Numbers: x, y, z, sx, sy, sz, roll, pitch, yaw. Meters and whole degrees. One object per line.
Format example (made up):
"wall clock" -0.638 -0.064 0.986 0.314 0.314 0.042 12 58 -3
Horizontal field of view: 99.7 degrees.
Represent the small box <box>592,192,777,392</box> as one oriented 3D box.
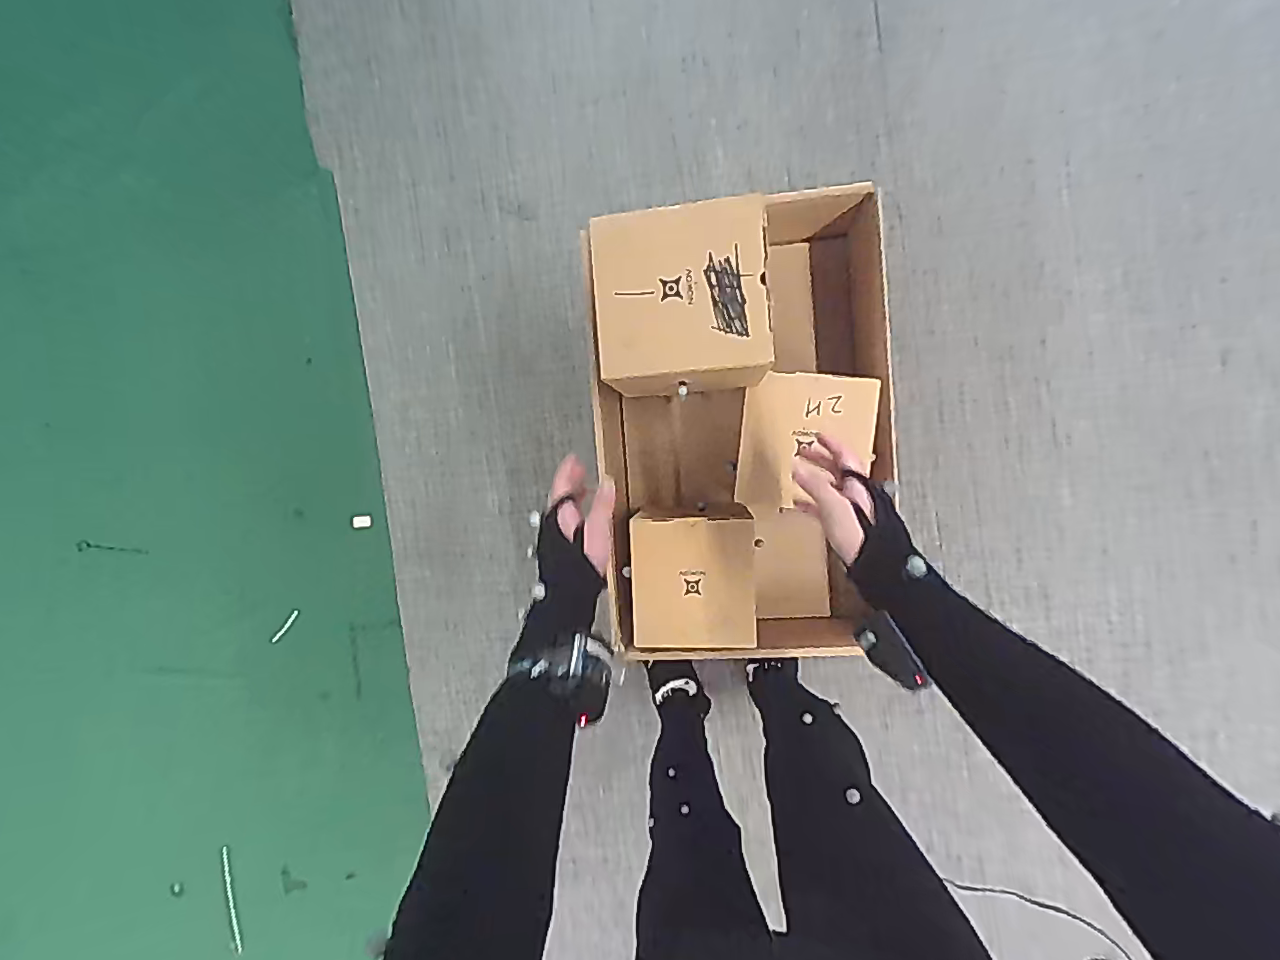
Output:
"small box" 0.052 -0.194 0.607 0.179 0.176 0.168 -3 92 8
